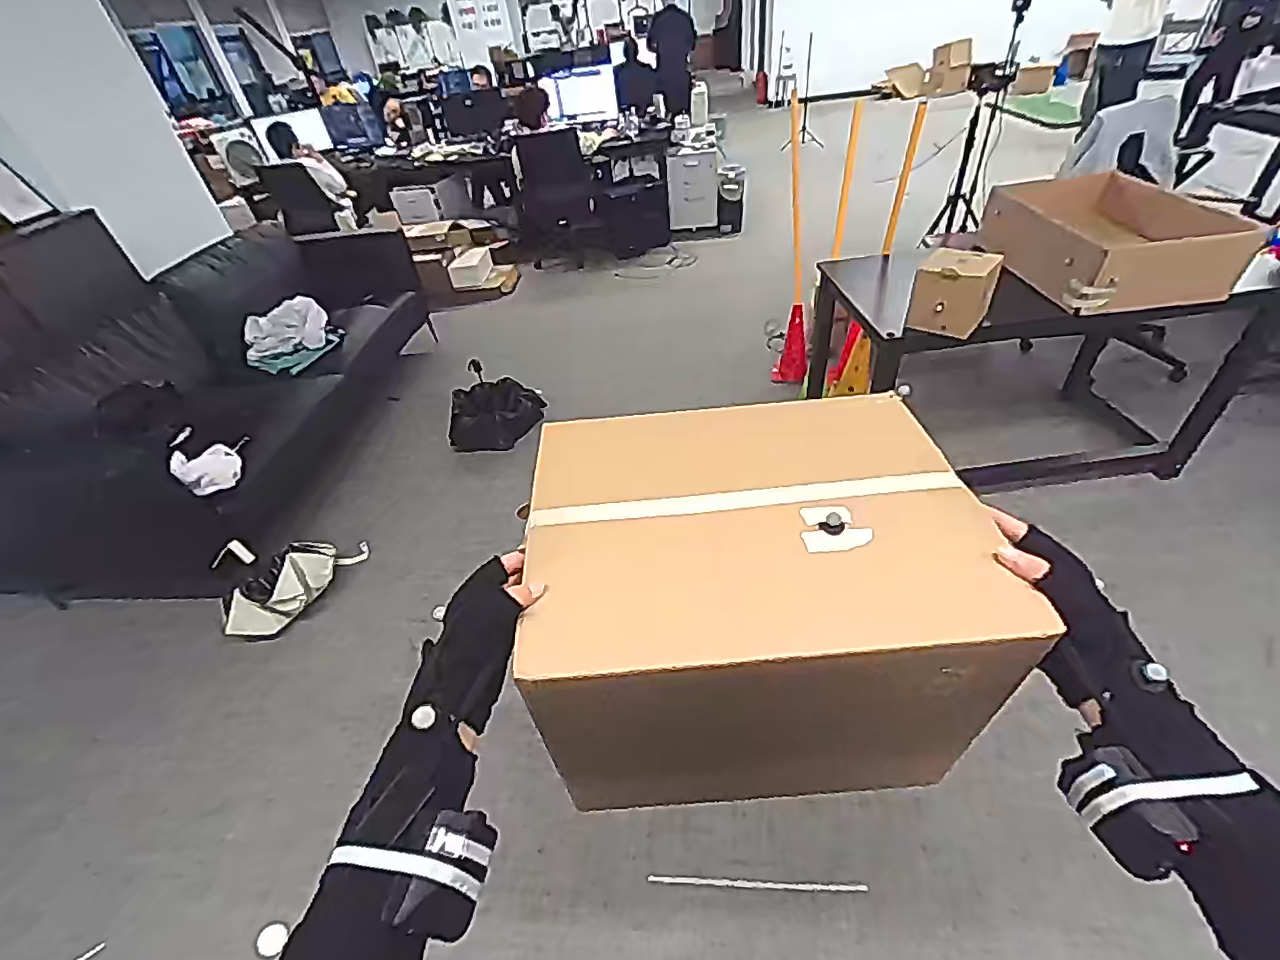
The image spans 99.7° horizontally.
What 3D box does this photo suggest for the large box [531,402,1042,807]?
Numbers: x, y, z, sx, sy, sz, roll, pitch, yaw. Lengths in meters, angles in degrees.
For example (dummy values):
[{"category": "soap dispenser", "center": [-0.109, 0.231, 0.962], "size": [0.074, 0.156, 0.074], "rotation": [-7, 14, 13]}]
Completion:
[{"category": "large box", "center": [0.111, 0.138, 0.618], "size": [0.408, 0.320, 0.320], "rotation": [-5, 43, 0]}]
